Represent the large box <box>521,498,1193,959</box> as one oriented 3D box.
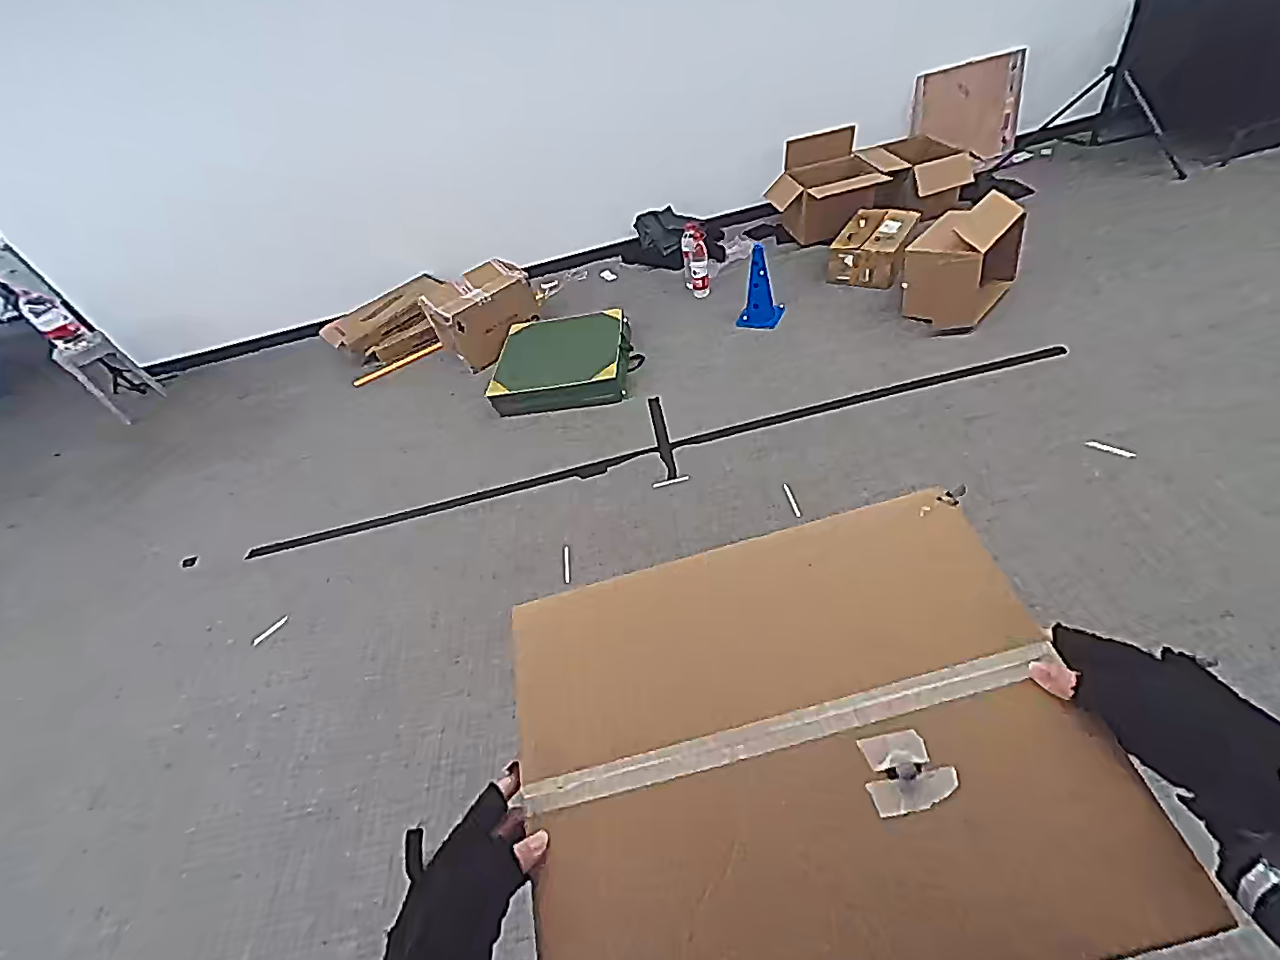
[{"bbox_3d":[0.137,0.275,0.532,0.408,0.320,0.320,-17,55,1],"label":"large box"}]
